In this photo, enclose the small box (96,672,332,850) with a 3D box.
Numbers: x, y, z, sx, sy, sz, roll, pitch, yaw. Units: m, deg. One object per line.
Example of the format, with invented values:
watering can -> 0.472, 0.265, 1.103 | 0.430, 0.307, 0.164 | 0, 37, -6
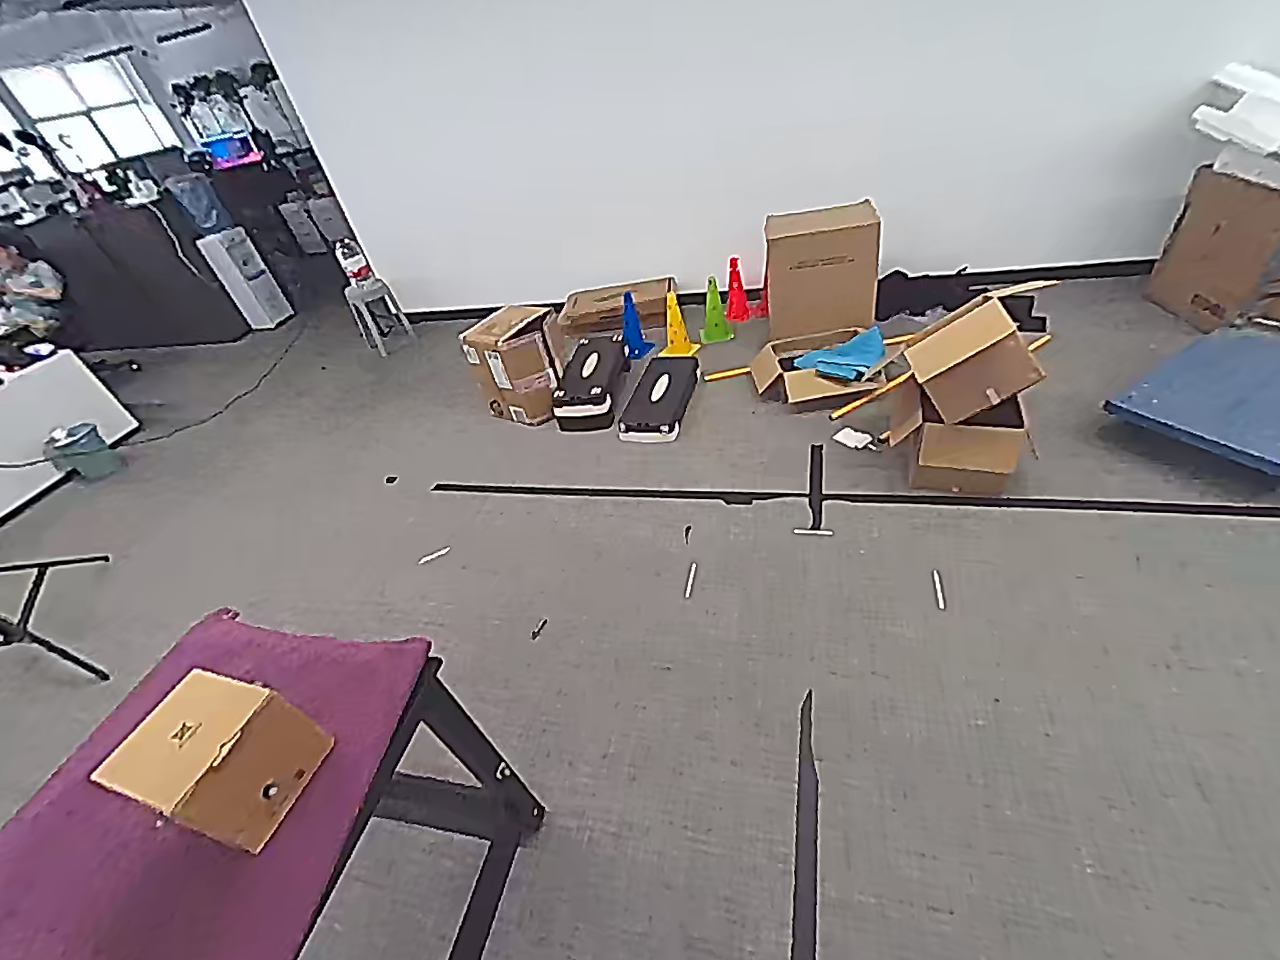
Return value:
small box -> -0.611, 0.413, 0.797 | 0.179, 0.176, 0.168 | 3, 42, 20
